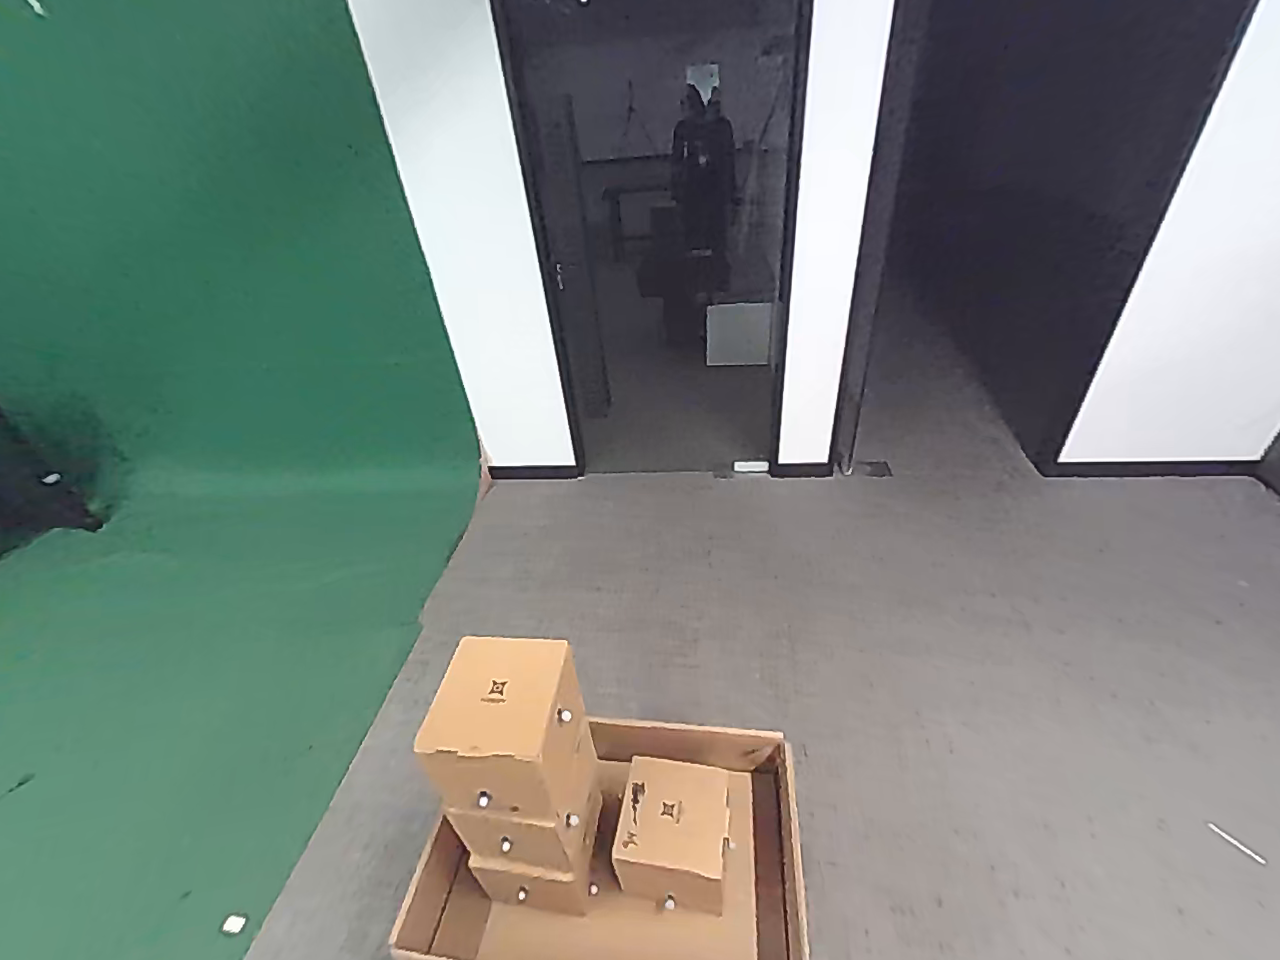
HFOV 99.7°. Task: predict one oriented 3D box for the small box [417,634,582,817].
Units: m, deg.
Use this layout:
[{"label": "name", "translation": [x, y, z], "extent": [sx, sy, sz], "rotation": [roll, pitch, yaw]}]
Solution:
[{"label": "small box", "translation": [-0.185, 0.347, 0.776], "extent": [0.168, 0.176, 0.179], "rotation": [0, 36, 8]}]
